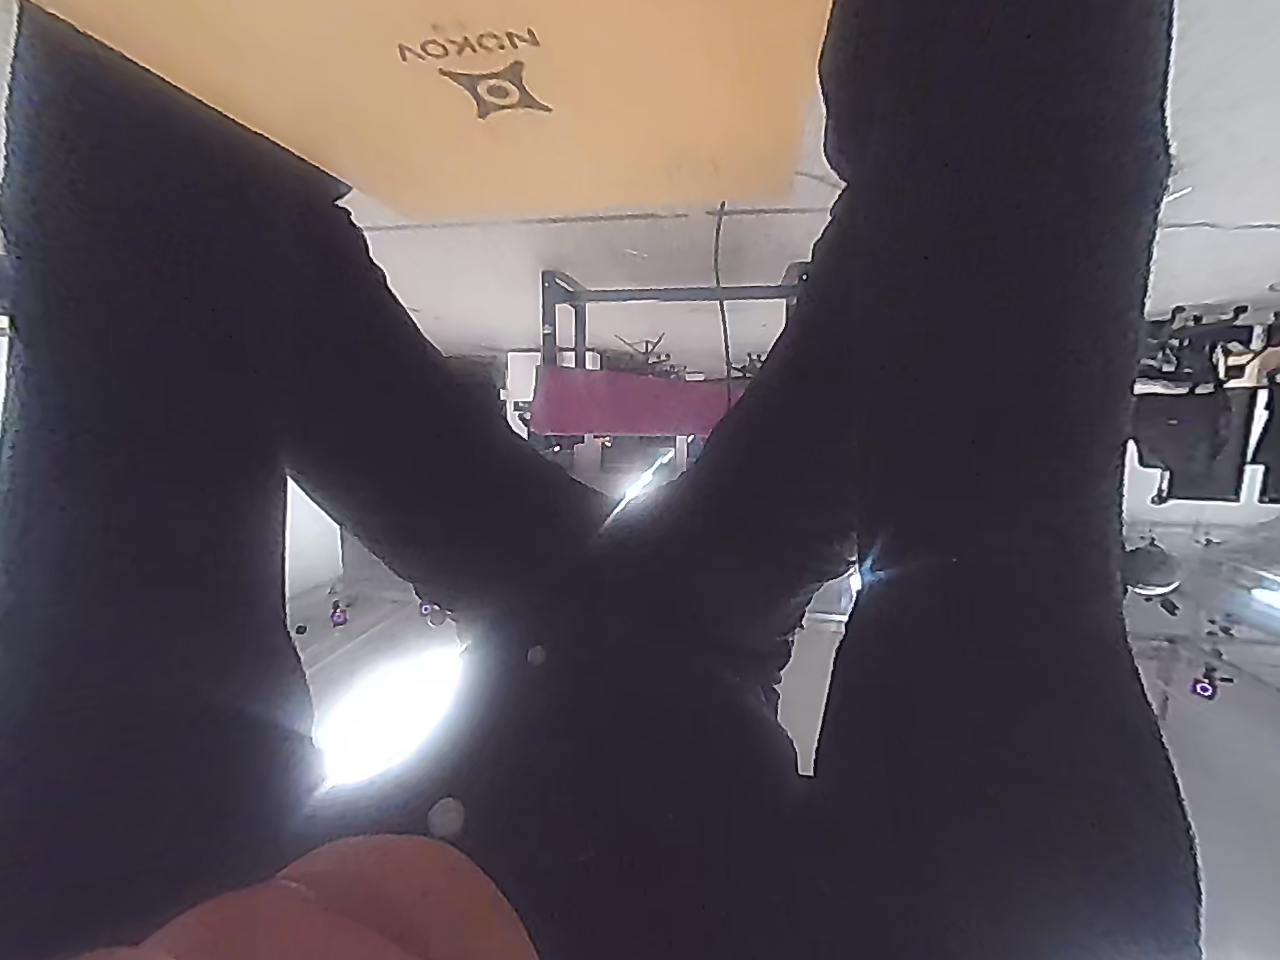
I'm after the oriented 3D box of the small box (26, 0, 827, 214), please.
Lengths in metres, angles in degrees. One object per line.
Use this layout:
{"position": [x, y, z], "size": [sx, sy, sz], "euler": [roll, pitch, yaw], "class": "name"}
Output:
{"position": [-0.038, -0.183, 0.127], "size": [0.168, 0.176, 0.179], "euler": [2, -173, 10], "class": "small box"}
